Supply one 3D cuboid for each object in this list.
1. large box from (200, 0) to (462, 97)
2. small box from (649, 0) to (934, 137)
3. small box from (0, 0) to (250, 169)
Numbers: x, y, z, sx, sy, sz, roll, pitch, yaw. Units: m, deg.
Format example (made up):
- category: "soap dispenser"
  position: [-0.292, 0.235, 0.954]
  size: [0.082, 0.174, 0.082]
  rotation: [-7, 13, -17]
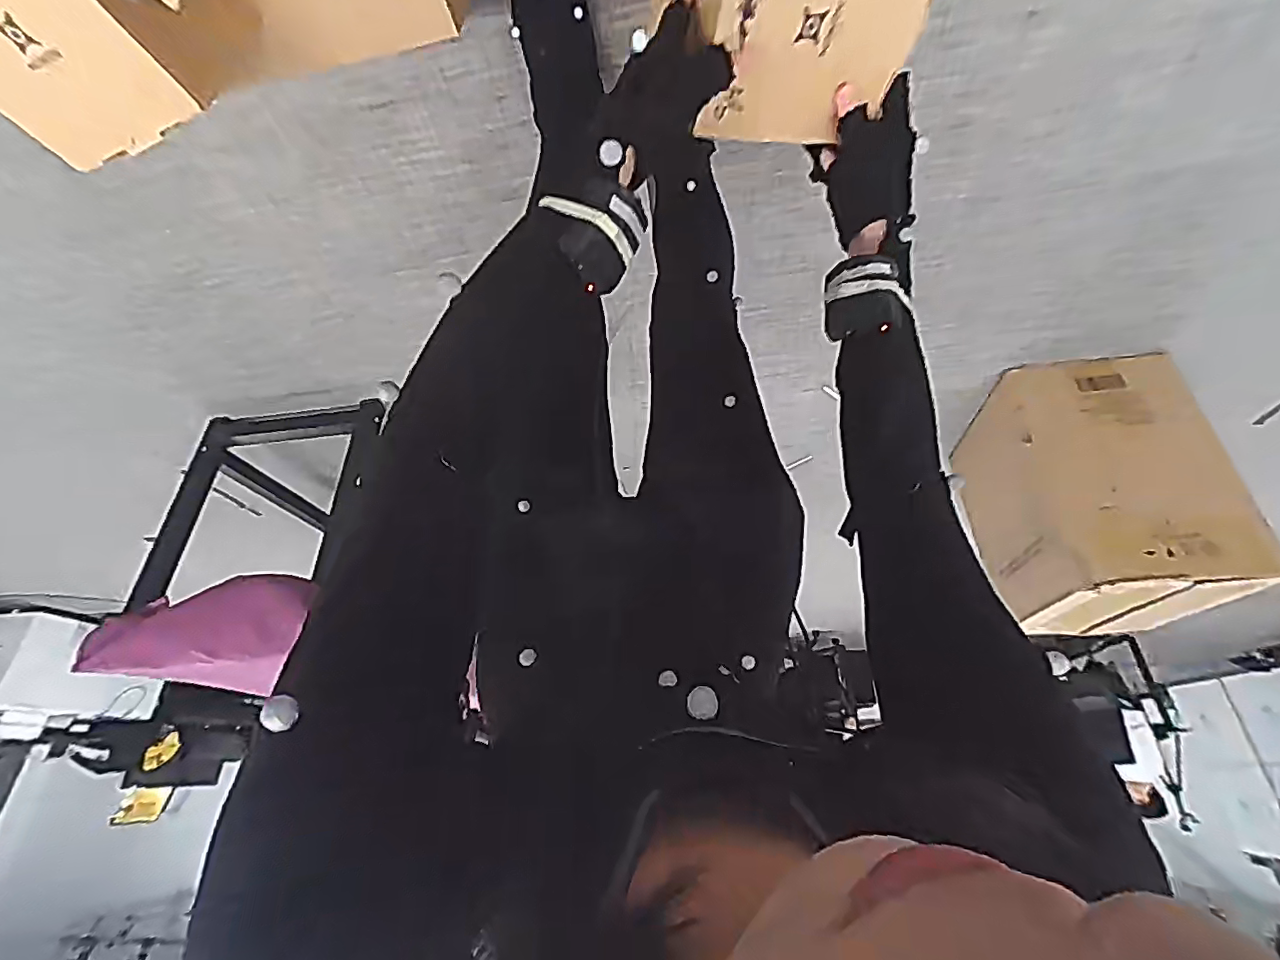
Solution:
- category: "large box"
  position: [-0.409, -0.653, 0.530]
  size: [0.408, 0.320, 0.320]
  rotation: [-7, 152, 10]
- category: "small box"
  position: [0.123, -0.419, 0.450]
  size: [0.179, 0.176, 0.168]
  rotation: [-7, 149, -16]
- category: "small box"
  position: [-0.484, -0.416, 0.457]
  size: [0.168, 0.176, 0.179]
  rotation: [-12, 149, 16]
